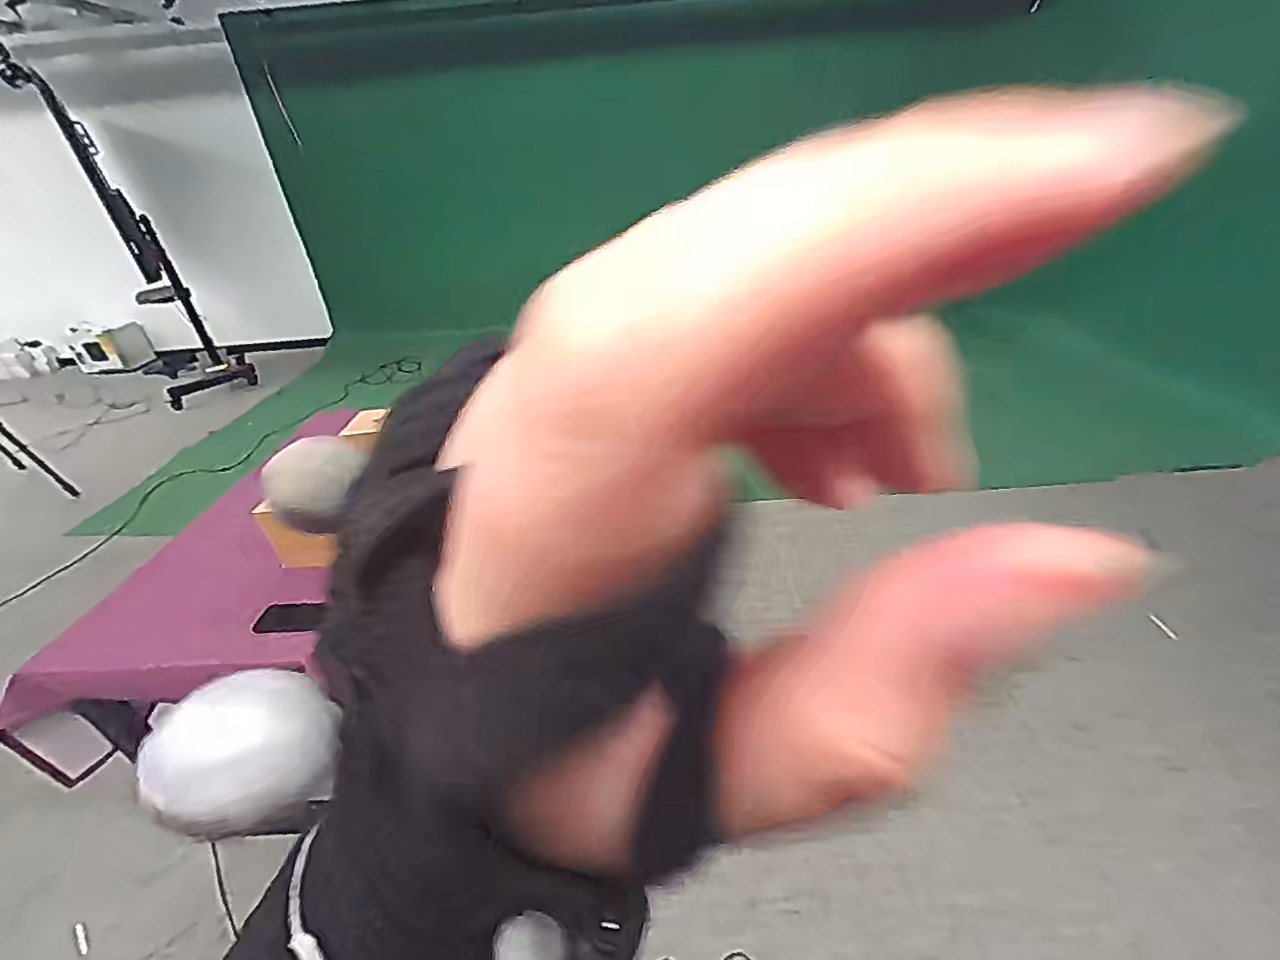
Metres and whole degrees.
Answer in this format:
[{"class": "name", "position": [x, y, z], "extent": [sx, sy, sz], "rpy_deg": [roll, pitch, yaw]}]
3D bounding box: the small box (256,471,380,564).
[{"class": "small box", "position": [-0.777, 0.094, 1.325], "extent": [0.179, 0.176, 0.168], "rpy_deg": [-2, 32, 3]}]
